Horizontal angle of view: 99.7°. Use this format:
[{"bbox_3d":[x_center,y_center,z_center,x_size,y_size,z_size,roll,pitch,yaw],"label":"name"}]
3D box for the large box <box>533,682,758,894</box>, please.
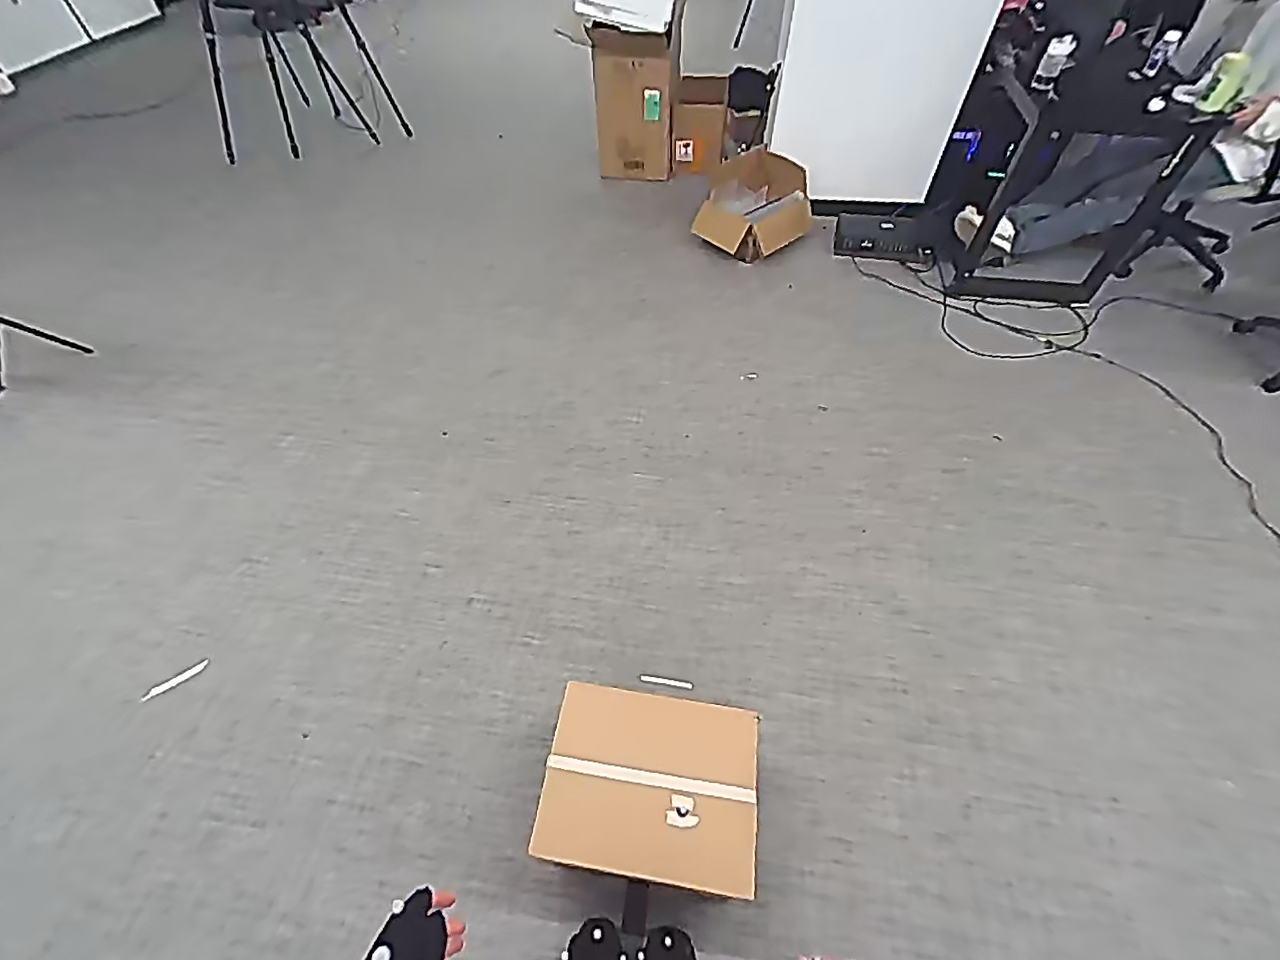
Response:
[{"bbox_3d":[0.021,0.661,1.158,0.408,0.320,0.320,8,54,5],"label":"large box"}]
